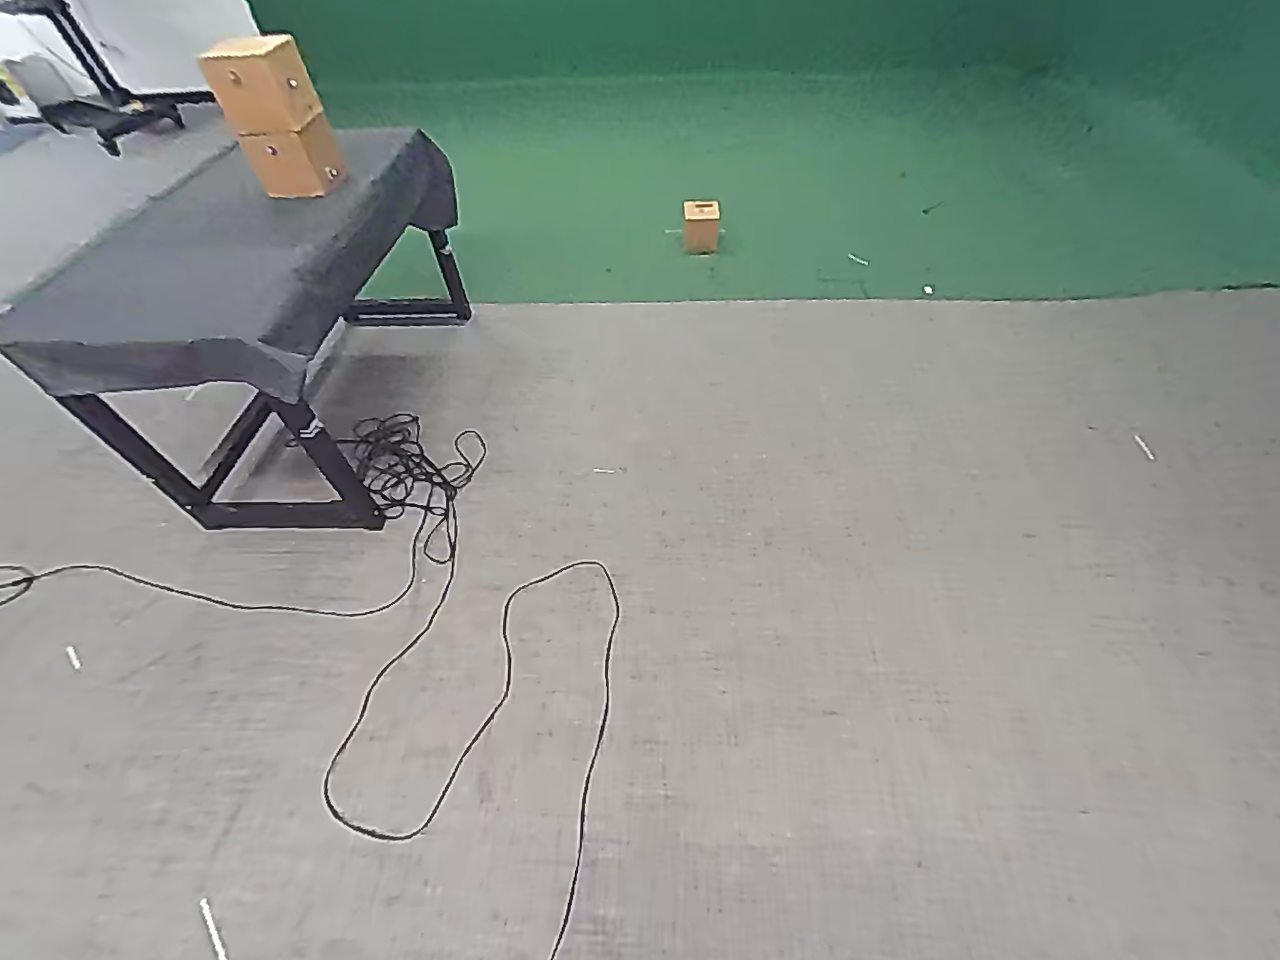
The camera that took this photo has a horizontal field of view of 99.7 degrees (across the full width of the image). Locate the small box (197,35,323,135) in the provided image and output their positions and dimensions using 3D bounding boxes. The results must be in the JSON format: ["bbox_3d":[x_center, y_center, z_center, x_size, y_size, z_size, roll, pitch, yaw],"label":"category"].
[{"bbox_3d":[-0.966,-1.018,1.397,0.179,0.176,0.168,-1,52,5],"label":"small box"}]

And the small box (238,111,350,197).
[{"bbox_3d":[-0.966,-0.919,1.527,0.179,0.176,0.168,1,52,4],"label":"small box"}]
